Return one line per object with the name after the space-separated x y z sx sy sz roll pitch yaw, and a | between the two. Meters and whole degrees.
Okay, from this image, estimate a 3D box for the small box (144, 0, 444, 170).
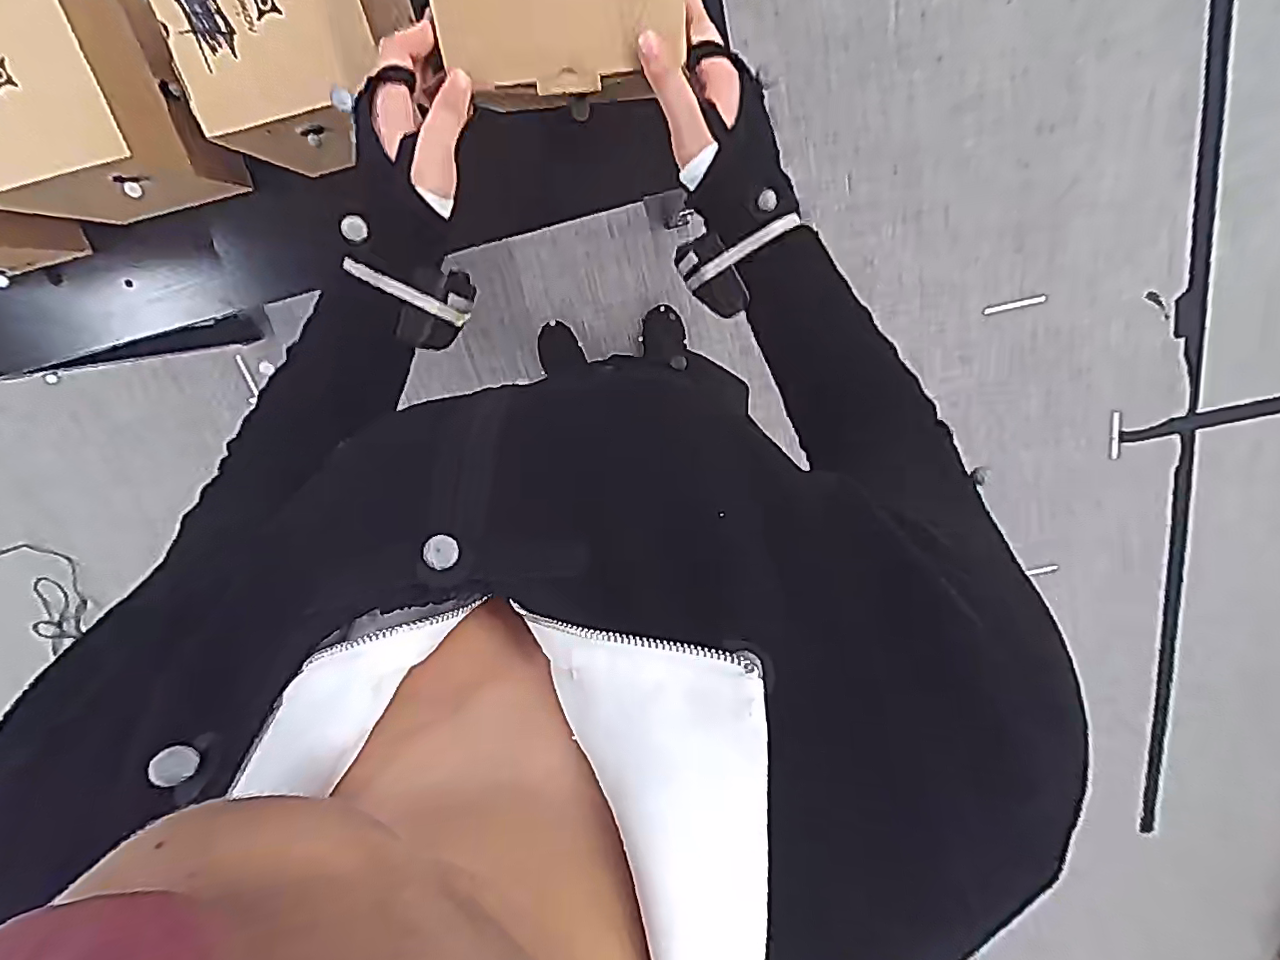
-0.318 -0.419 0.517 0.179 0.176 0.168 -12 109 4 | small box

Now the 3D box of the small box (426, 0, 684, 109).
-0.056 -0.378 0.386 0.168 0.176 0.179 -4 123 2 | small box

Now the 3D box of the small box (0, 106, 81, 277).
-0.765 -0.310 0.555 0.168 0.176 0.179 -13 110 6 | small box
